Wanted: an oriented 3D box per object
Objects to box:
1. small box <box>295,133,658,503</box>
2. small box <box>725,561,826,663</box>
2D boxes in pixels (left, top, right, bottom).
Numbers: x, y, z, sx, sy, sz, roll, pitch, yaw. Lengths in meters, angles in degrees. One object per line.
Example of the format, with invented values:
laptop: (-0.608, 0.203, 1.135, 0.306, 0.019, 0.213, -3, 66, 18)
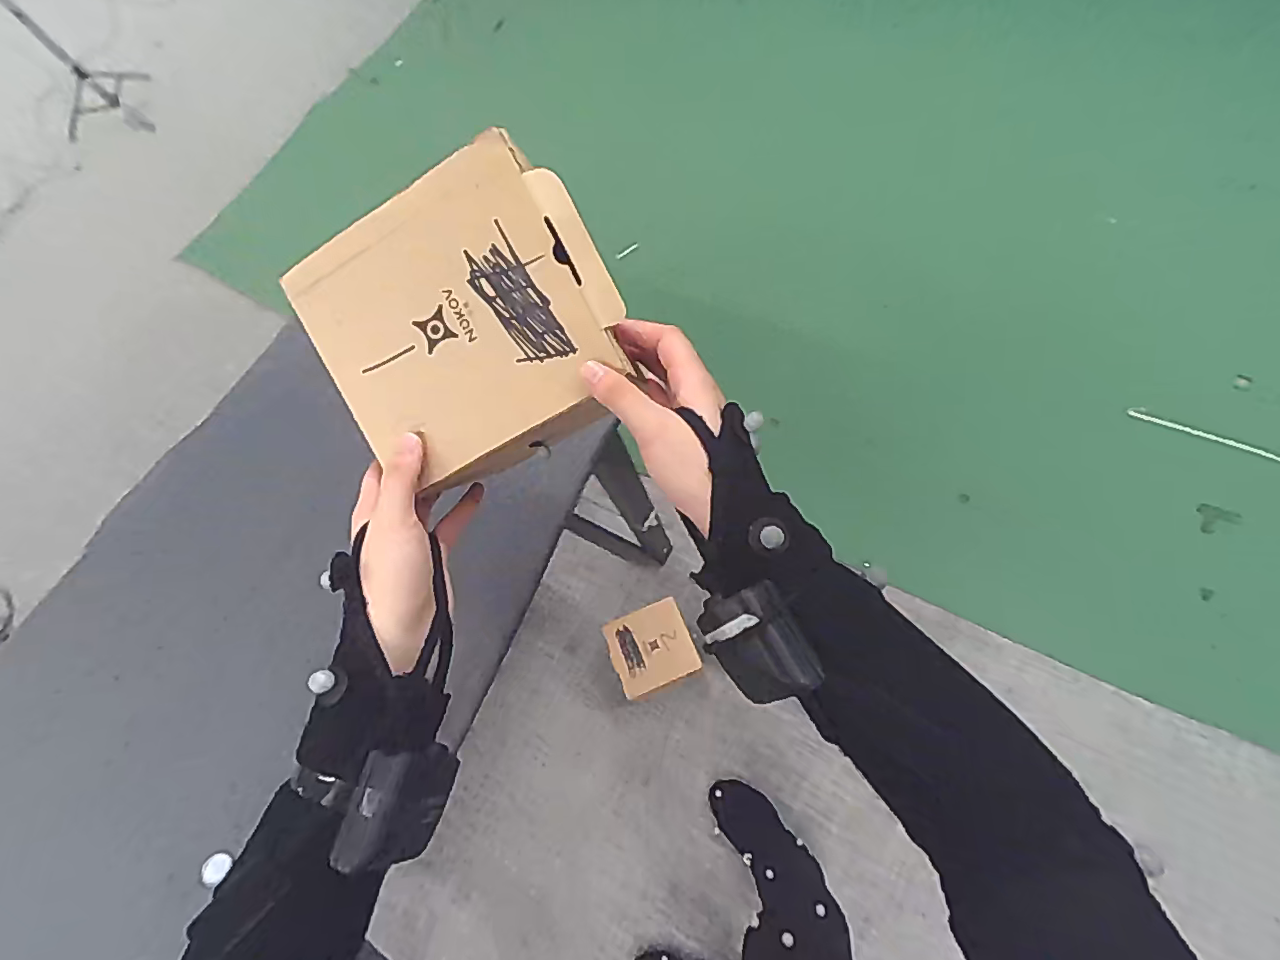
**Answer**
small box: (-0.096, -0.104, 0.408, 0.179, 0.176, 0.168, -26, 93, 12)
small box: (0.300, 0.302, 1.217, 0.179, 0.176, 0.168, 17, 72, 17)
